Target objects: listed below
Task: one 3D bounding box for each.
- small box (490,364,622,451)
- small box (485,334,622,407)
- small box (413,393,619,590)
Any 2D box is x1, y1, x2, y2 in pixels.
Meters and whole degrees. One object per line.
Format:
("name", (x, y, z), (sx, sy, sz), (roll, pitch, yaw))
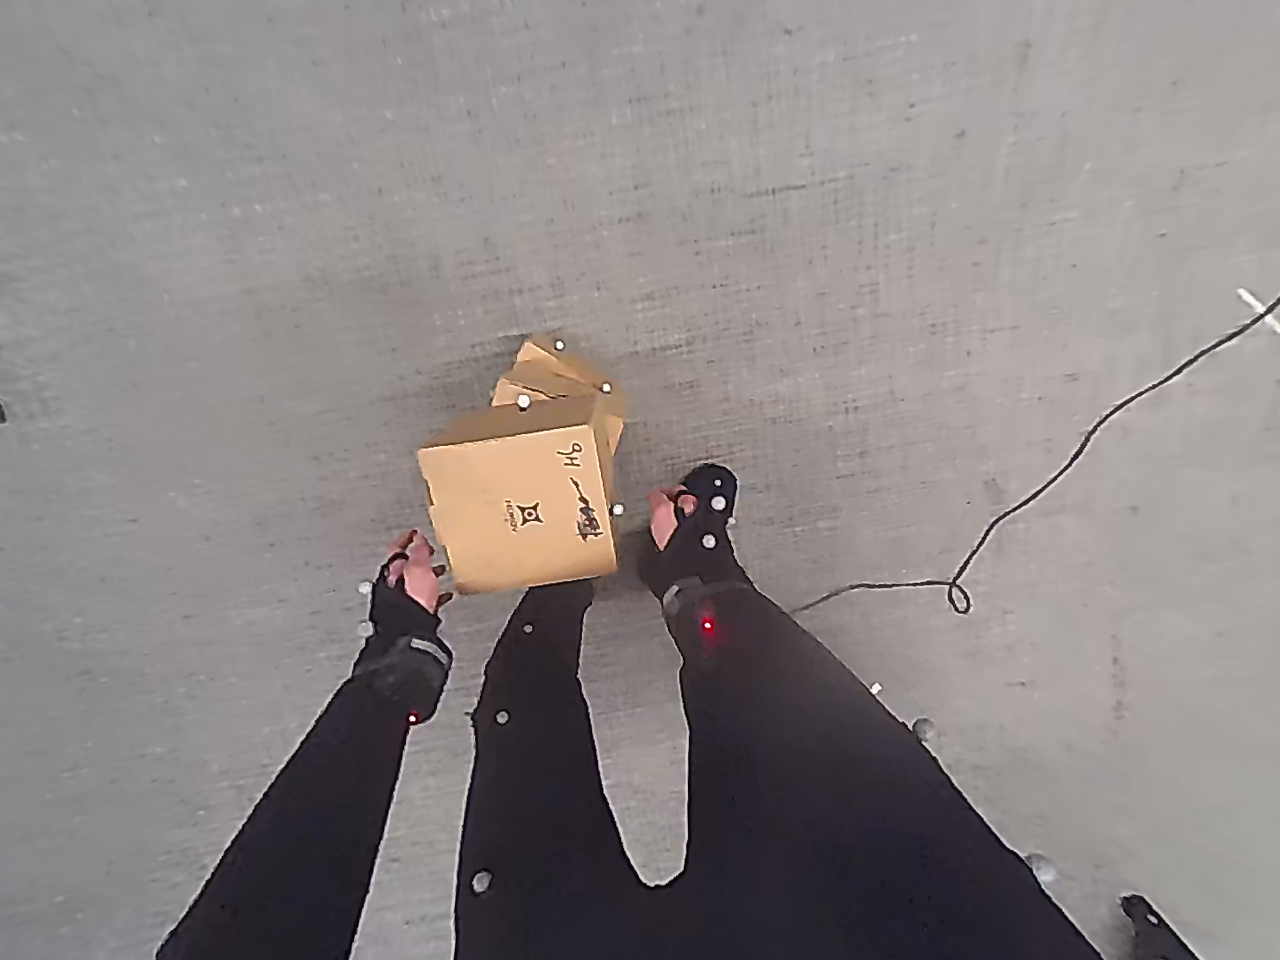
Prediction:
("small box", (-0.130, -0.053, 0.771), (0.168, 0.176, 0.179), (18, 109, -8))
("small box", (-0.146, -0.132, 0.917), (0.179, 0.176, 0.168), (29, 107, -13))
("small box", (-0.124, 0.004, 0.618), (0.179, 0.176, 0.168), (-8, 110, 3))
